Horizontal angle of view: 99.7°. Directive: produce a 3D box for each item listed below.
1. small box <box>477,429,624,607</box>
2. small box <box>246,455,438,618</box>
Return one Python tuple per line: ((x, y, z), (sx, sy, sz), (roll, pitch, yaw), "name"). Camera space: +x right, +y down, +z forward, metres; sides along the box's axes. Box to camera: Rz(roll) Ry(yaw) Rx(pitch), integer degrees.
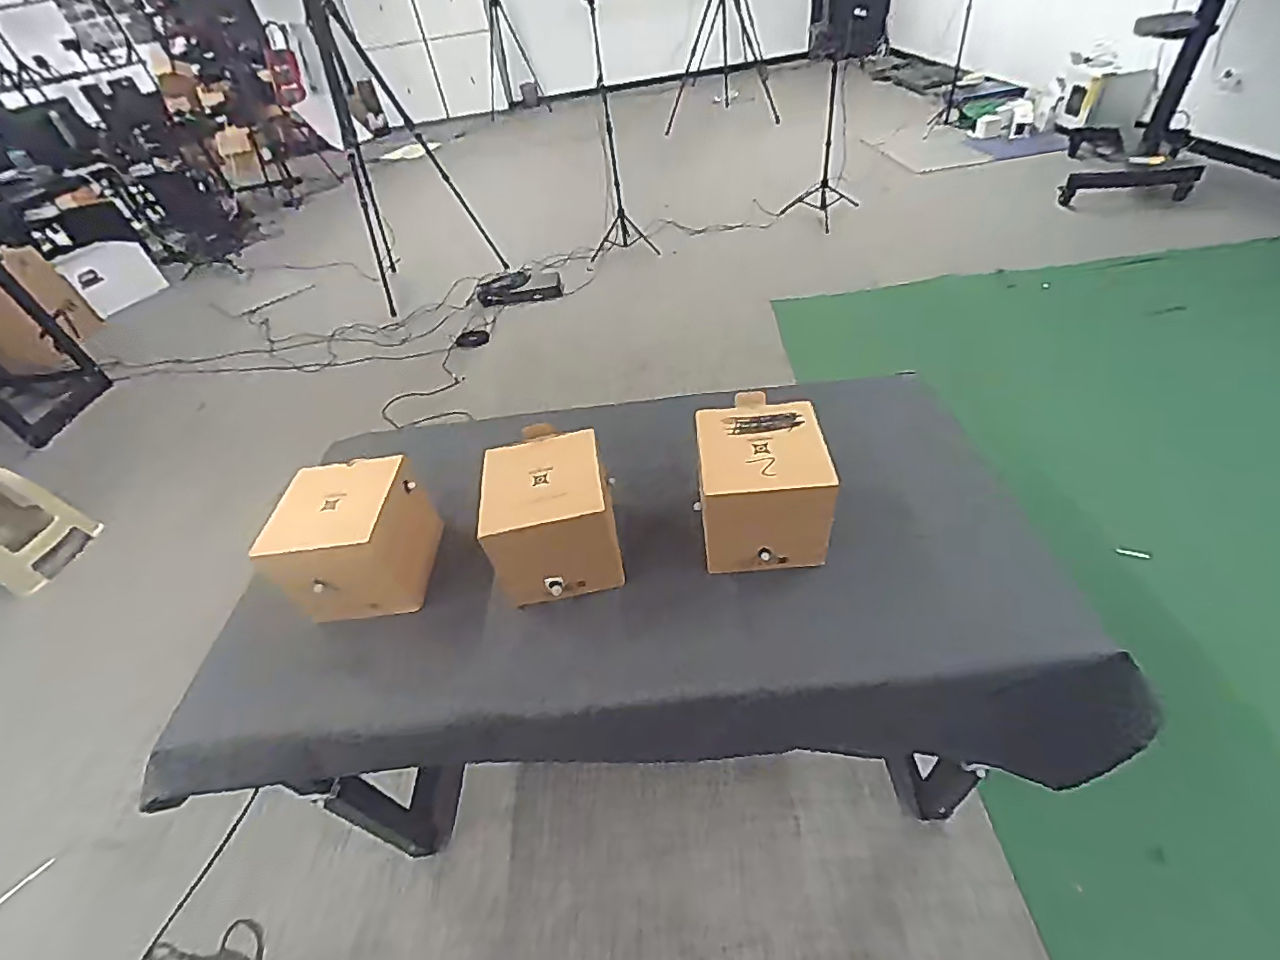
((-0.125, 0.056, 0.788), (0.168, 0.176, 0.179), (-13, 44, -1), "small box")
((-0.422, 0.090, 0.806), (0.168, 0.176, 0.179), (-8, 42, 2), "small box")
